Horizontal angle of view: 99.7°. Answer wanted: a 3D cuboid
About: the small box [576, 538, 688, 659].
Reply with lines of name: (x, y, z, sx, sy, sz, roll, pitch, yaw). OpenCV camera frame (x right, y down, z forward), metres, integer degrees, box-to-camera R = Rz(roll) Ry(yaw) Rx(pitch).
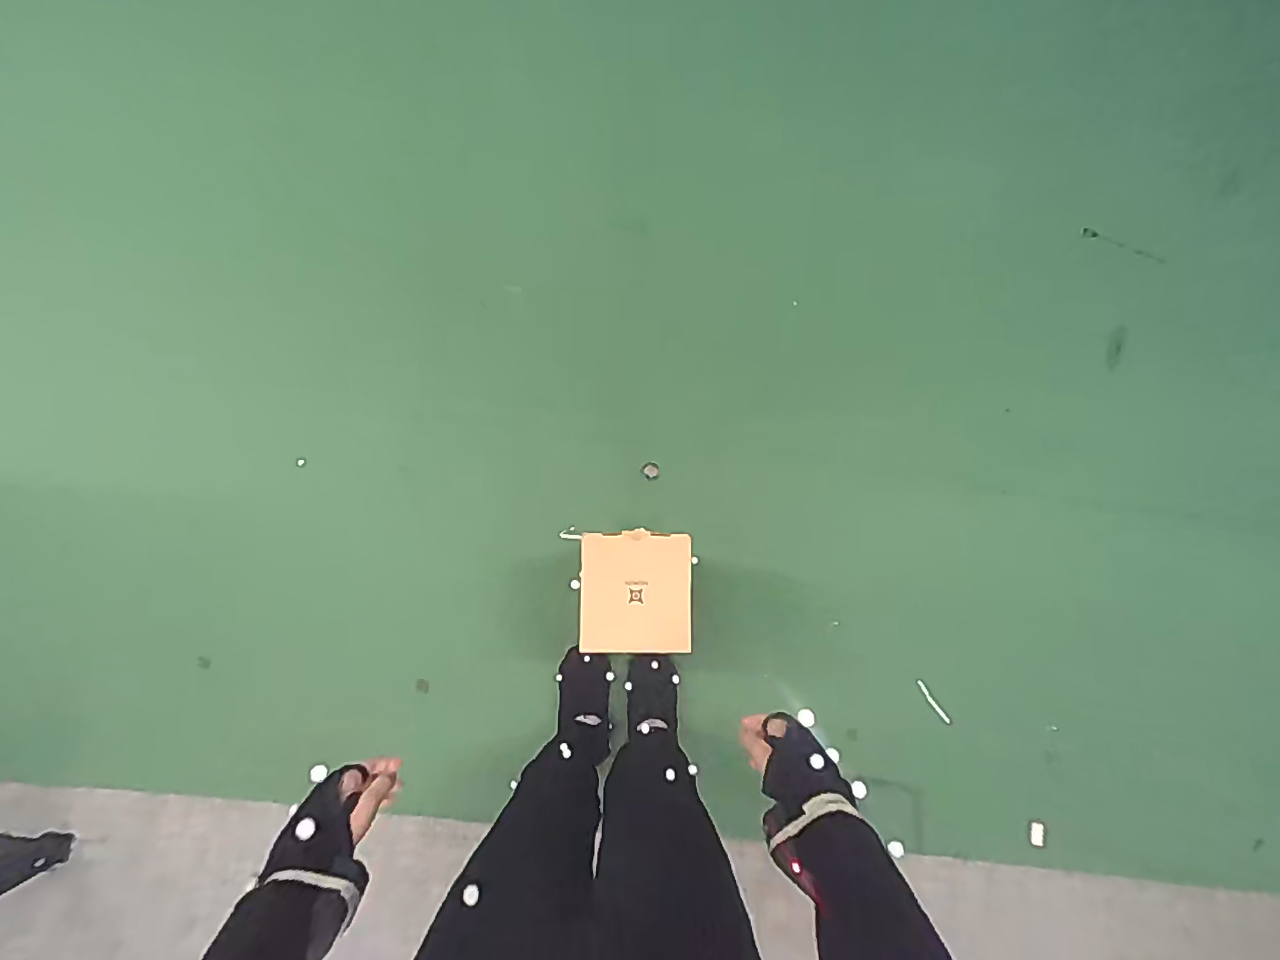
small box: (-0.013, 0.185, 0.881, 0.168, 0.176, 0.179, 1, 82, -2)
